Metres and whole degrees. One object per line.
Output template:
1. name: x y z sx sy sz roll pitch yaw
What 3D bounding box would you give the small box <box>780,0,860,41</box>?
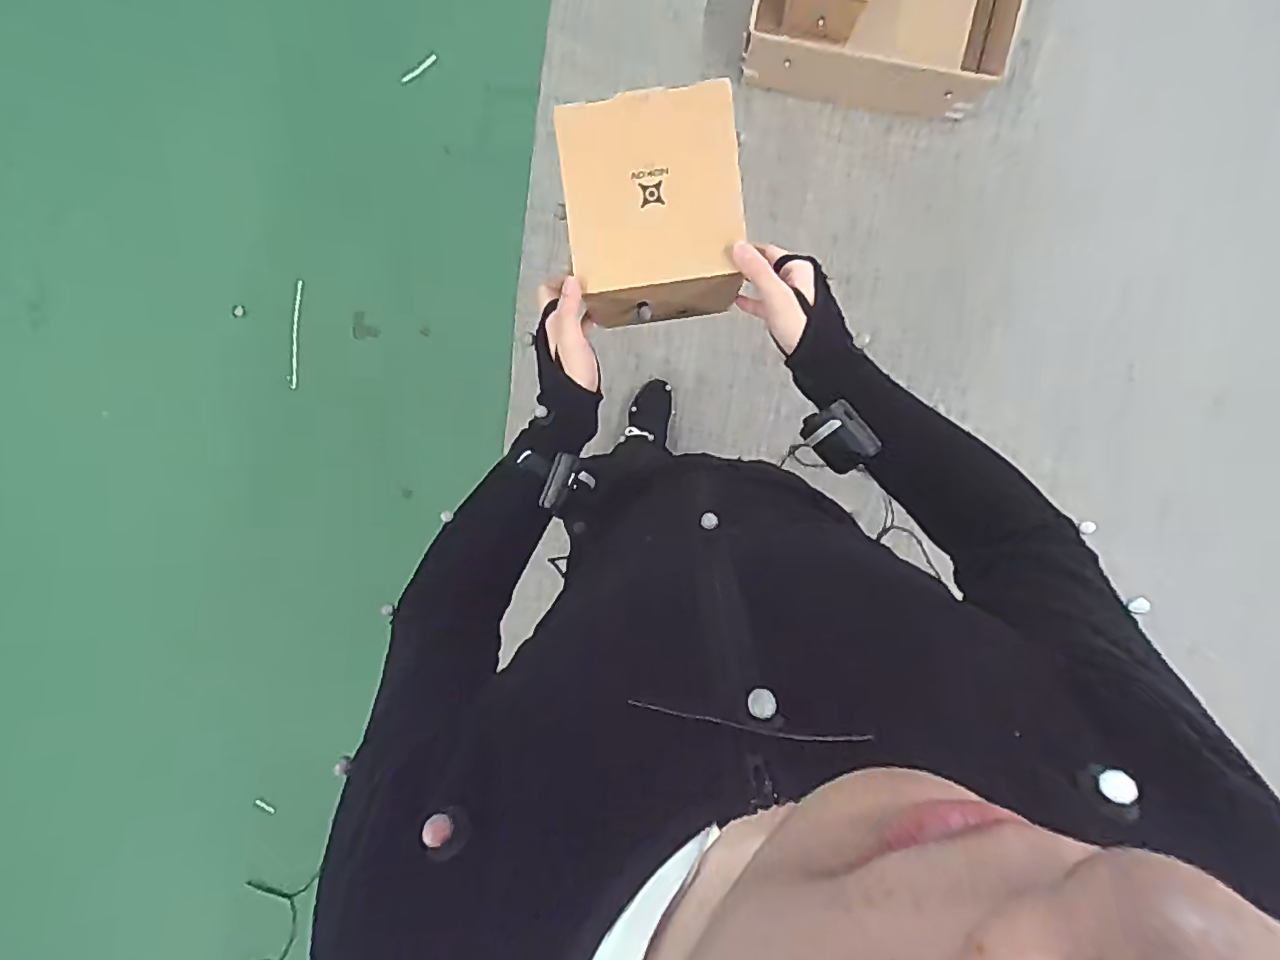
1. small box: 0.447 -1.208 1.299 0.168 0.176 0.179 10 99 -1

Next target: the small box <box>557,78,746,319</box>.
1. small box: 0.016 -0.283 0.589 0.168 0.176 0.179 -7 93 3
